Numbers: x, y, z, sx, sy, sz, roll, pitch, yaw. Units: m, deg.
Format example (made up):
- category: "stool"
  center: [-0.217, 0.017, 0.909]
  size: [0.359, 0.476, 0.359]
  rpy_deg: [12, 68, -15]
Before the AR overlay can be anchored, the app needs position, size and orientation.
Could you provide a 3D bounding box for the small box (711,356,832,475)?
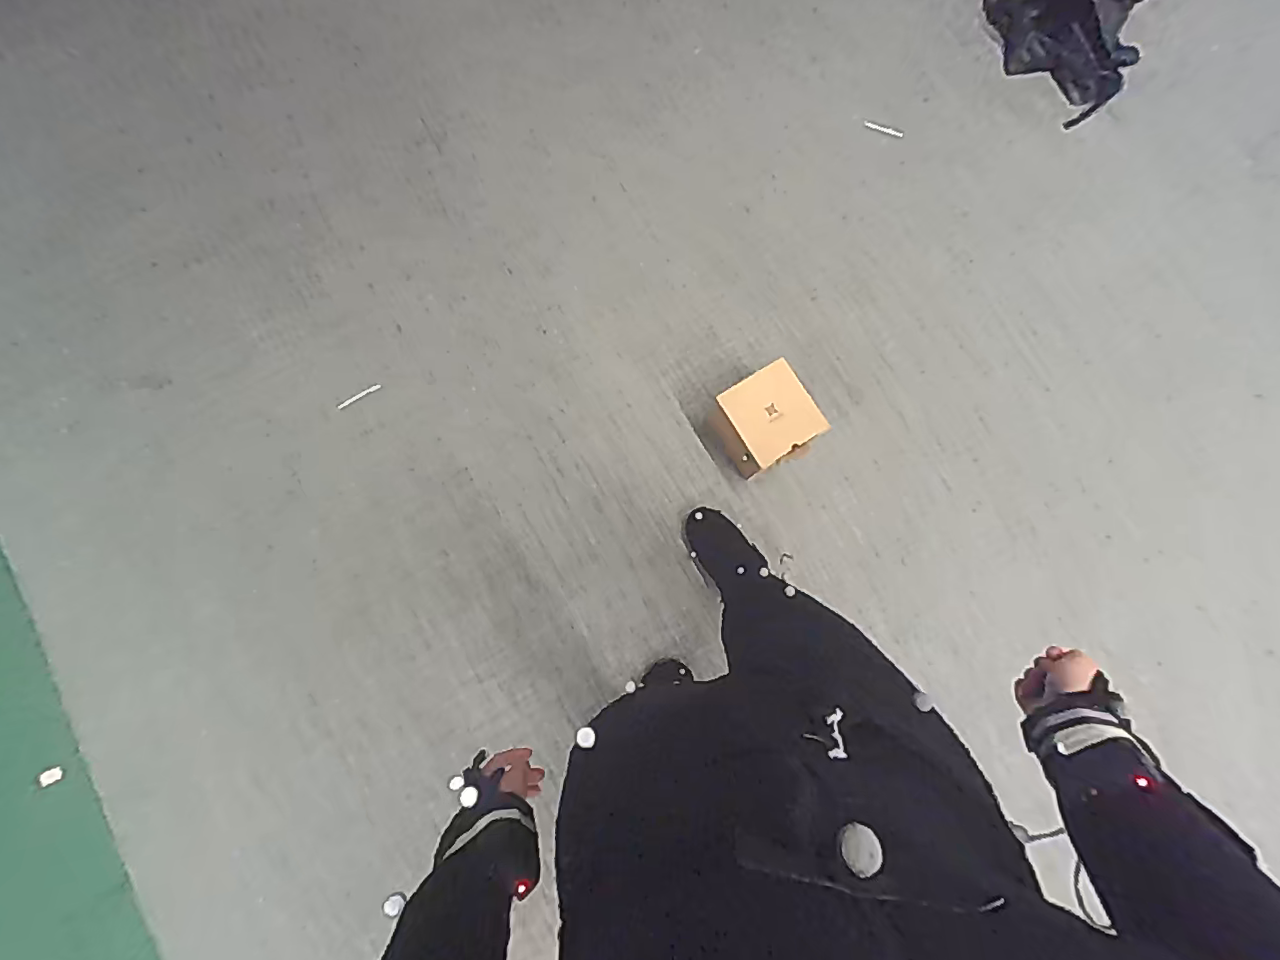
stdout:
- category: "small box"
  center: [0.268, -0.128, 1.152]
  size: [0.168, 0.176, 0.179]
  rpy_deg: [-31, 84, -3]
